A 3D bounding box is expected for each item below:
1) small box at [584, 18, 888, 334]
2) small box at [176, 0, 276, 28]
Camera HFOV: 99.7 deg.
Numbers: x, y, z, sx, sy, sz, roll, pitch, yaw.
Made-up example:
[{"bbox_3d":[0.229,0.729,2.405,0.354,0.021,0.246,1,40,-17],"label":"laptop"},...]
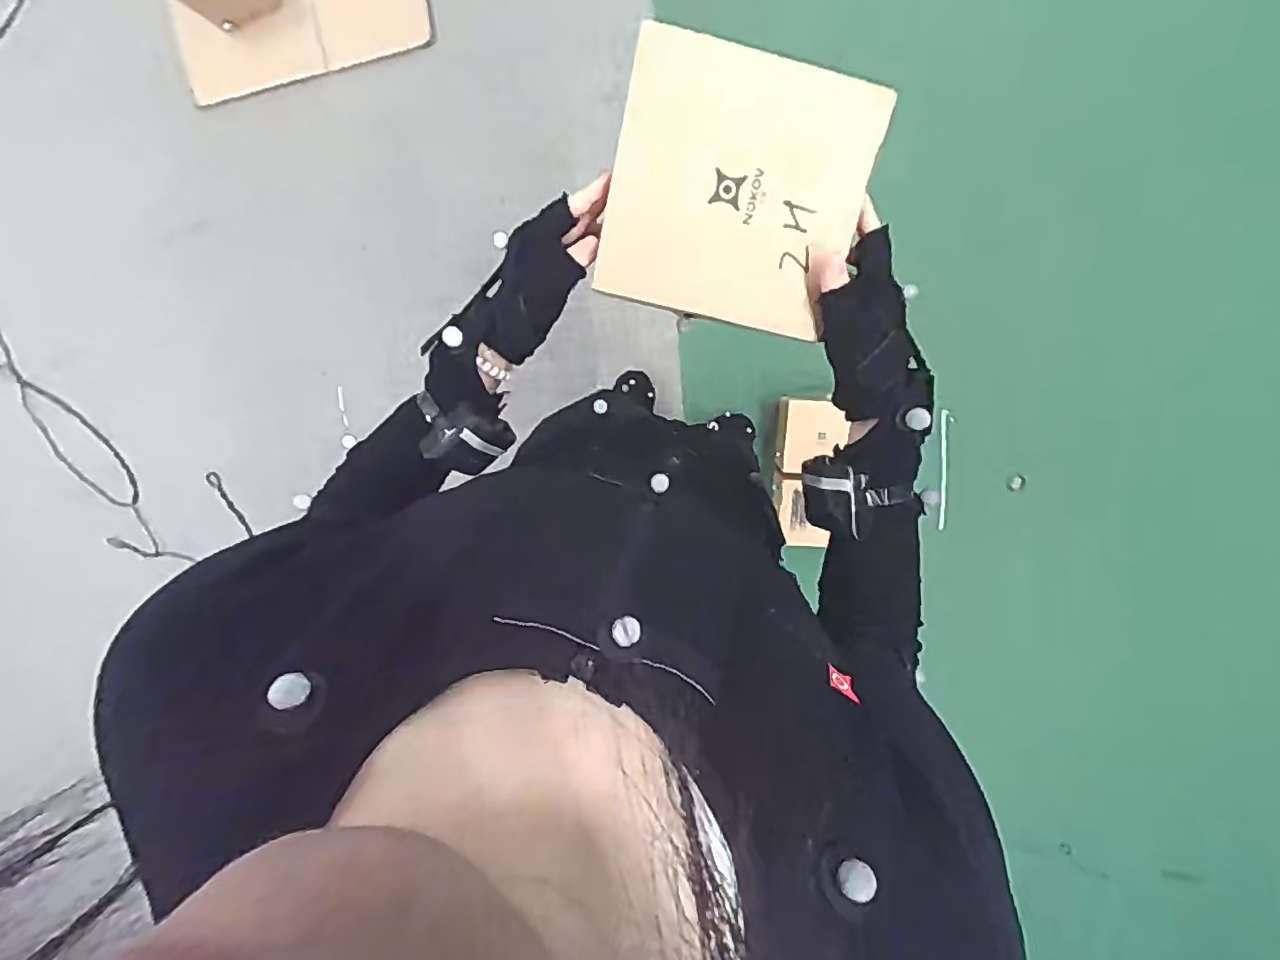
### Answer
[{"bbox_3d":[0.060,-0.223,0.444,0.179,0.176,0.168,11,108,-5],"label":"small box"},{"bbox_3d":[-1.019,-1.232,1.290,0.168,0.176,0.179,-12,99,11],"label":"small box"}]
